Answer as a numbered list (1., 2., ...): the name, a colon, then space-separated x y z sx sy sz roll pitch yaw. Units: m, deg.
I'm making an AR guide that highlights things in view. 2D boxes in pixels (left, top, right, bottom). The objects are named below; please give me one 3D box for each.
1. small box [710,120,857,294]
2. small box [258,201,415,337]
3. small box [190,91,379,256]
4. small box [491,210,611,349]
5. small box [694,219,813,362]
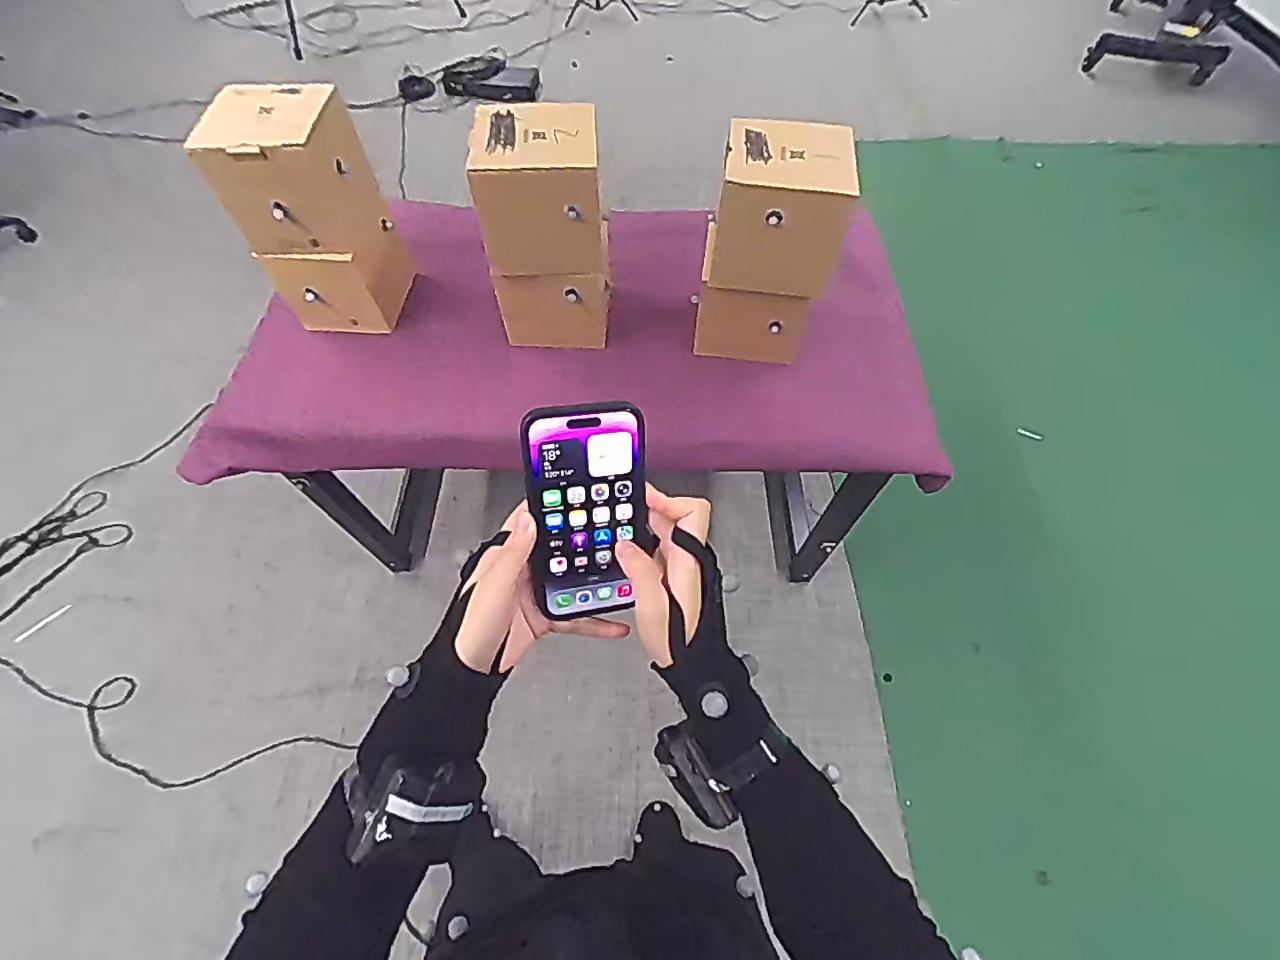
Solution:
1. small box: 0.201 -0.397 0.797 0.179 0.176 0.168 7 59 4
2. small box: -0.534 -0.380 0.984 0.168 0.176 0.179 2 59 2
3. small box: -0.536 -0.472 0.847 0.168 0.176 0.179 -2 60 -1
4. small box: -0.145 -0.350 0.961 0.179 0.176 0.168 2 59 2
5. small box: 0.195 -0.326 0.946 0.179 0.176 0.168 7 59 6
